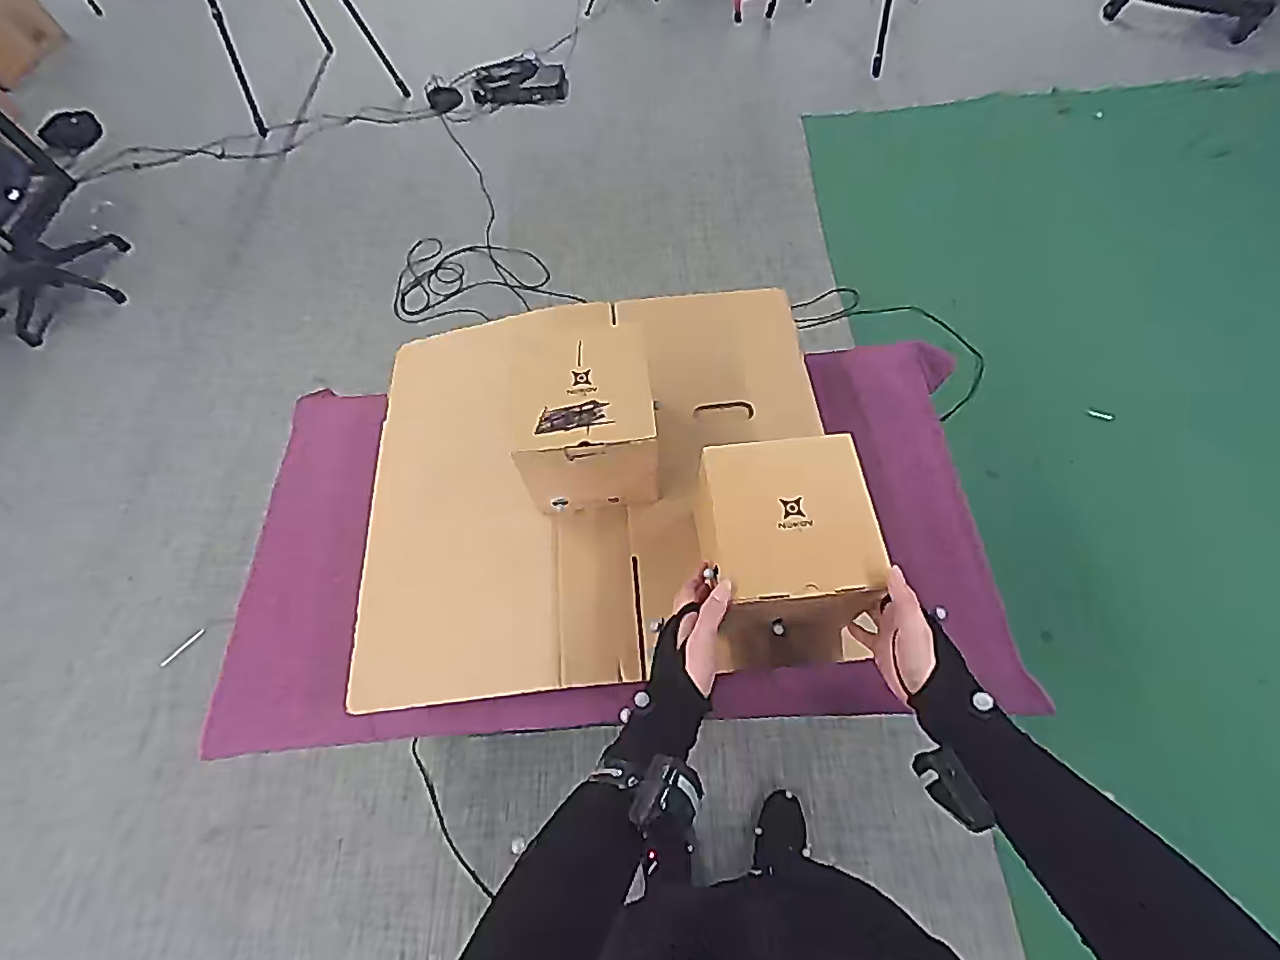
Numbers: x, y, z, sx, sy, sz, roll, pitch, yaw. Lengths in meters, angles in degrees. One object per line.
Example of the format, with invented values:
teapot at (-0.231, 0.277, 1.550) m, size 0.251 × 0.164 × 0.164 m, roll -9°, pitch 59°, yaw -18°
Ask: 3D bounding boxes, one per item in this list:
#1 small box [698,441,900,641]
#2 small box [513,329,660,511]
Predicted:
small box at (0.163, 0.076, 0.623) m, size 0.168 × 0.176 × 0.179 m, roll -5°, pitch 63°, yaw -1°
small box at (-0.063, -0.068, 0.704) m, size 0.168 × 0.176 × 0.179 m, roll -5°, pitch 62°, yaw -1°
